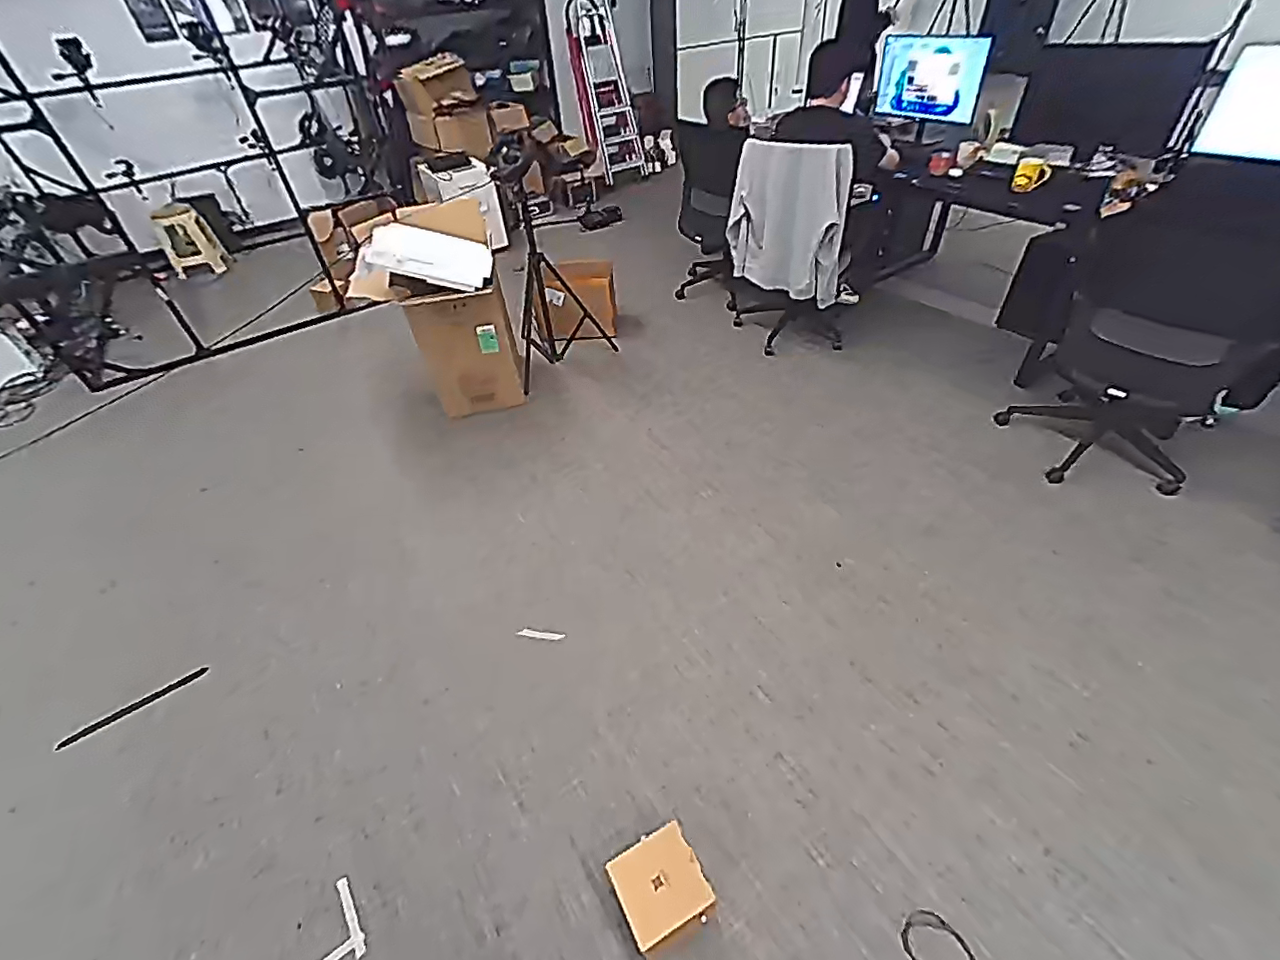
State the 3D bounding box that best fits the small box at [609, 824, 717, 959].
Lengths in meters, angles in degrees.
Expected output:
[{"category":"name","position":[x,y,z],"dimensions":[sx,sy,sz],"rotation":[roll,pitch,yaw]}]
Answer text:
[{"category":"small box","position":[0.054,0.895,1.166],"dimensions":[0.179,0.176,0.168],"rotation":[-23,44,-18]}]
